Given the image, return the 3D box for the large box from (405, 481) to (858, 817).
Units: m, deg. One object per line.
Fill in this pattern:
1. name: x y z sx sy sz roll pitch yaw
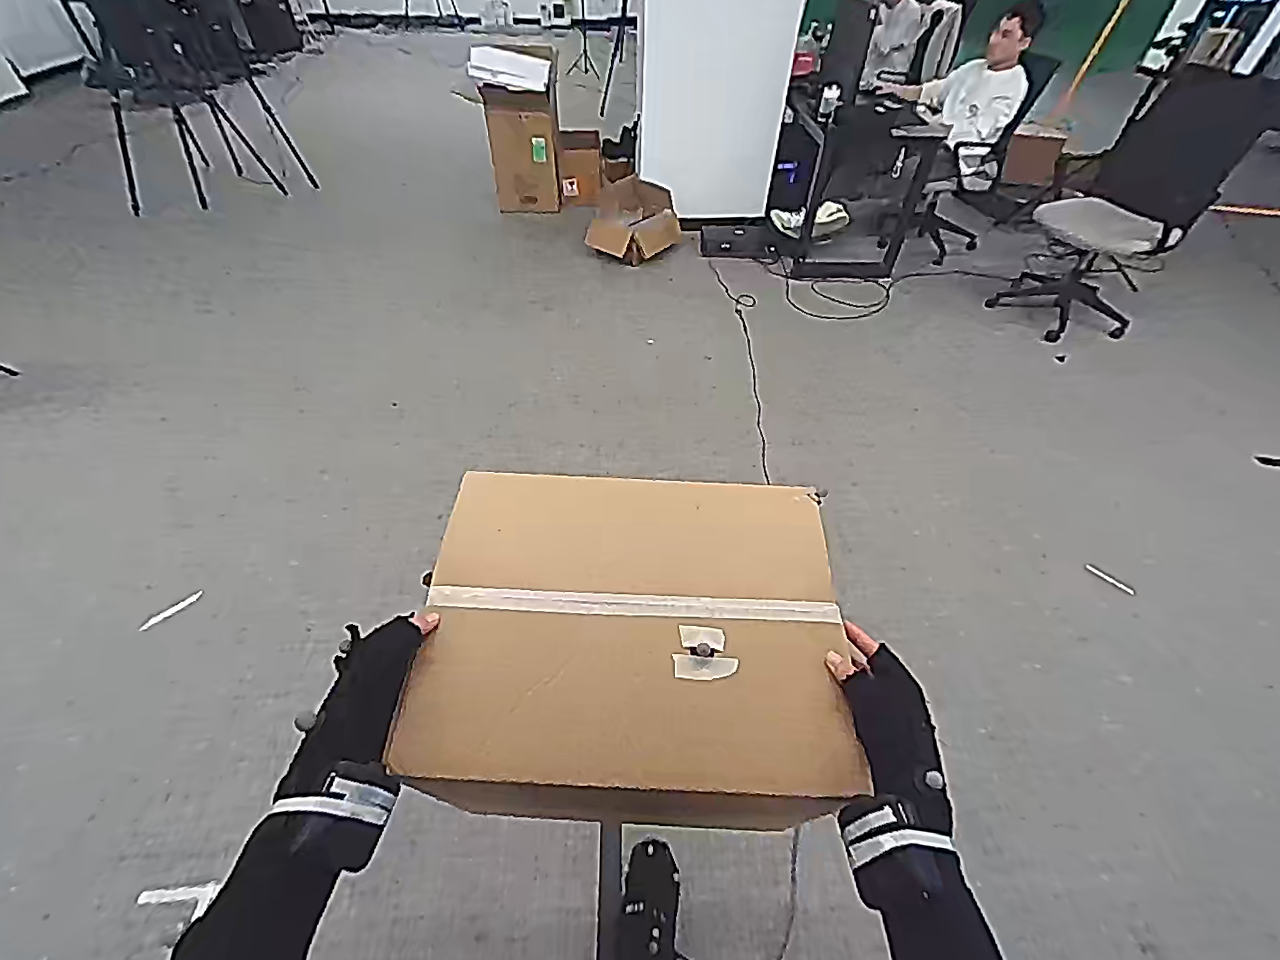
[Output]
1. large box: -0.009 0.220 0.672 0.408 0.320 0.320 3 54 0
